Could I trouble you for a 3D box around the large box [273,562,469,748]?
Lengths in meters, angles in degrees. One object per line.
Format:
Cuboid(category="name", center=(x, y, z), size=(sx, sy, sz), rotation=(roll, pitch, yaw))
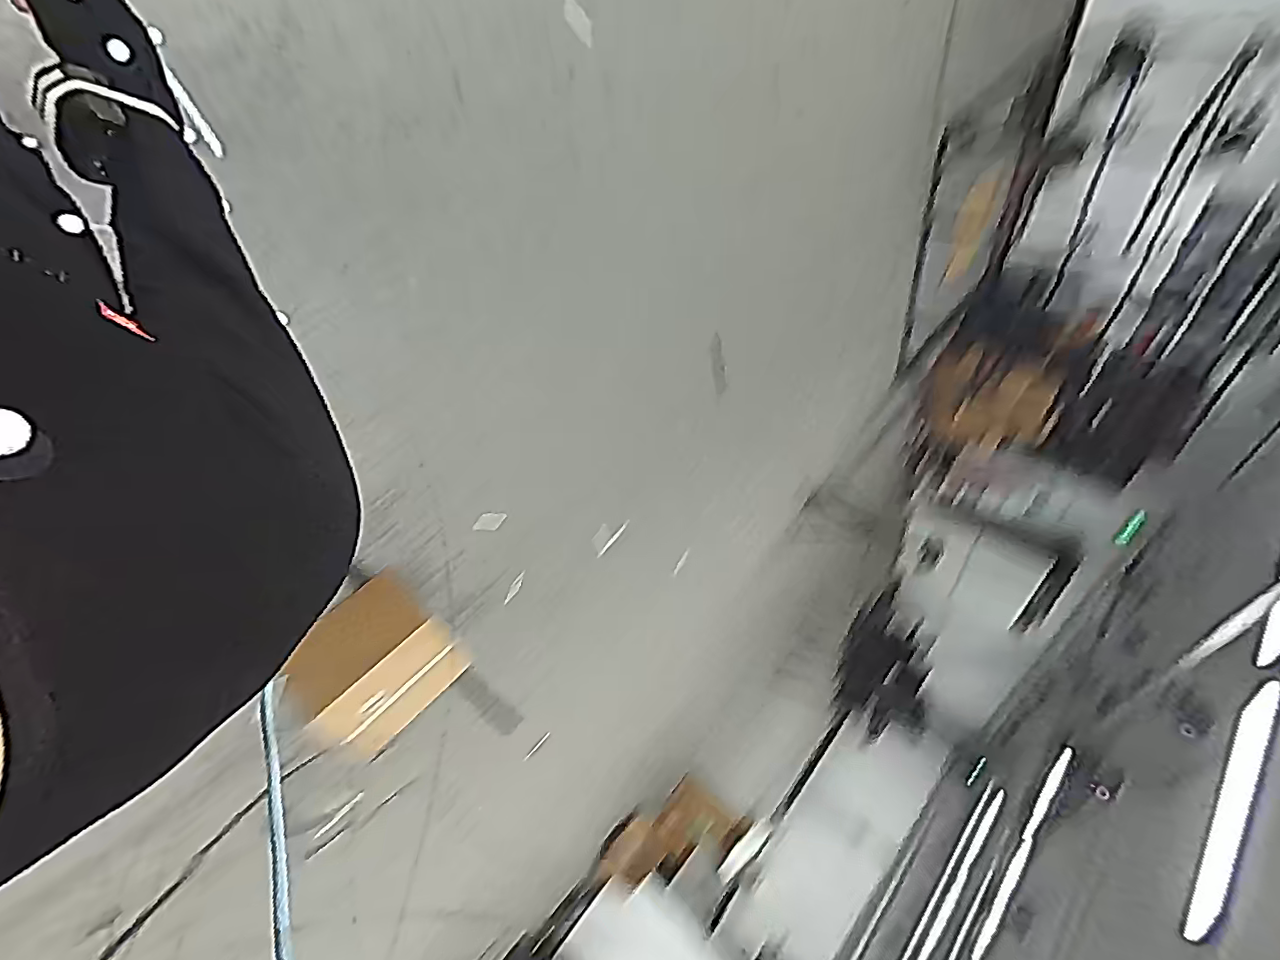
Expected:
Cuboid(category="large box", center=(-0.840, 0.544, 1.722), size=(0.408, 0.320, 0.320), rotation=(-42, 141, -24))
